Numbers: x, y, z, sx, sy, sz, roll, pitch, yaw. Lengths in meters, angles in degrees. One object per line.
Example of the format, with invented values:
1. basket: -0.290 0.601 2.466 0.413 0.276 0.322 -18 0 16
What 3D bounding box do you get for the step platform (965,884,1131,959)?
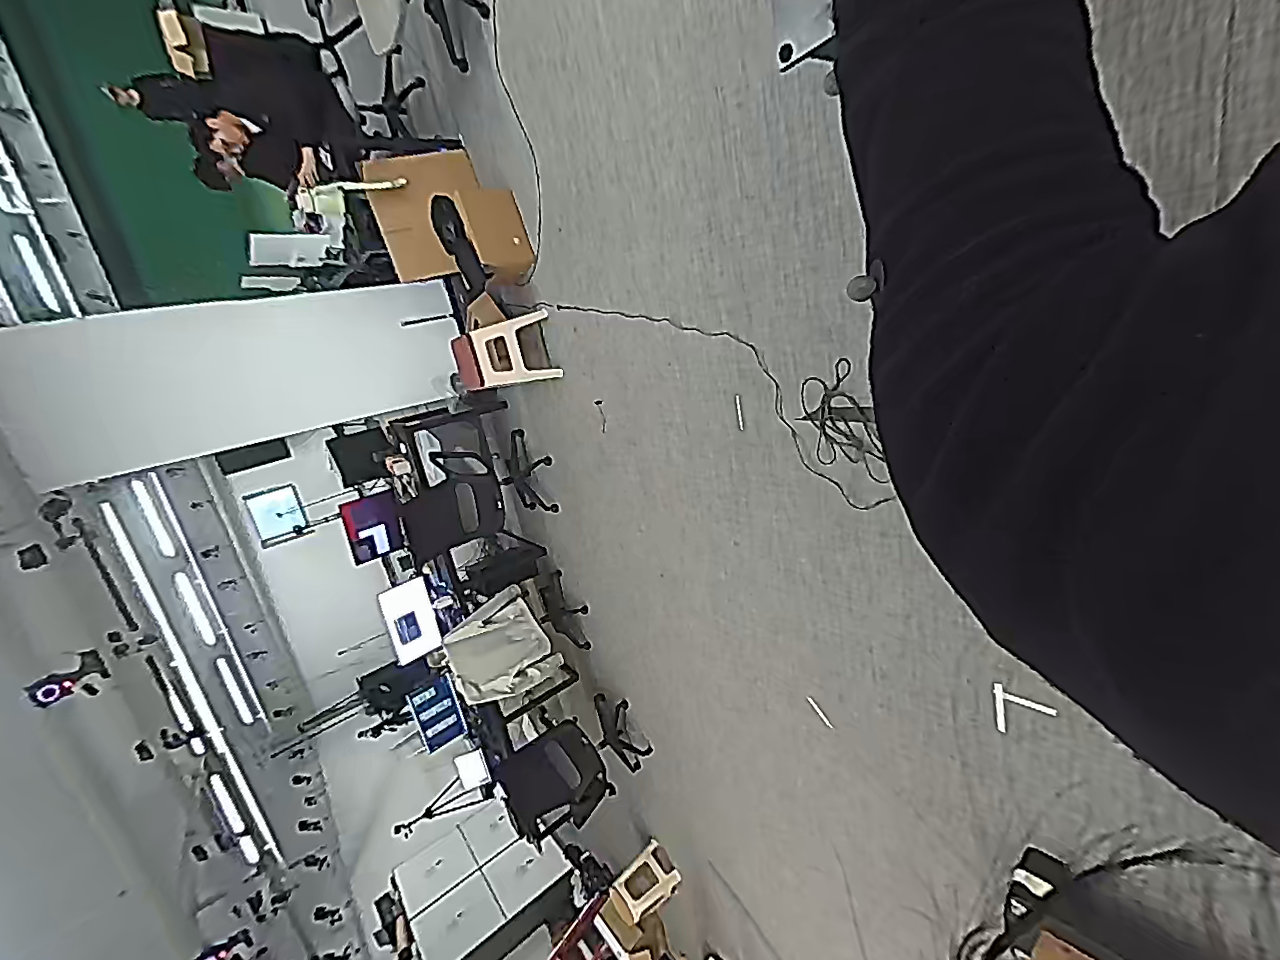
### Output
1. step platform: 1.218 1.369 1.342 0.684 0.204 0.286 8 116 54
